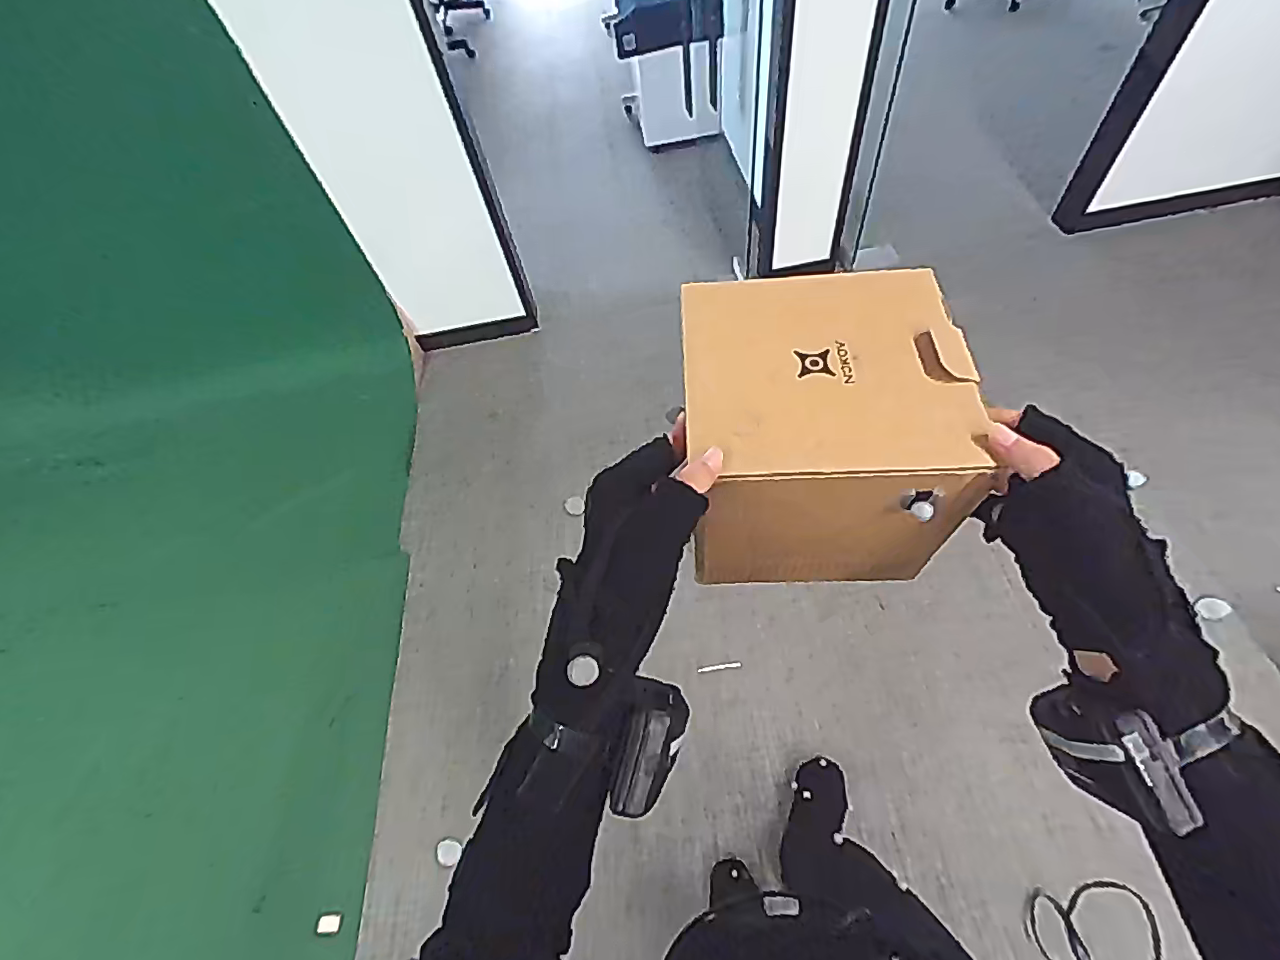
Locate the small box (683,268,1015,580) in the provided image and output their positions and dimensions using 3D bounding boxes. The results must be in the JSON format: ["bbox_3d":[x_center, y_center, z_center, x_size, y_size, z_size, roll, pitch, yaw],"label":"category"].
[{"bbox_3d":[0.124,-0.031,0.404,0.179,0.176,0.168,-2,58,4],"label":"small box"}]
